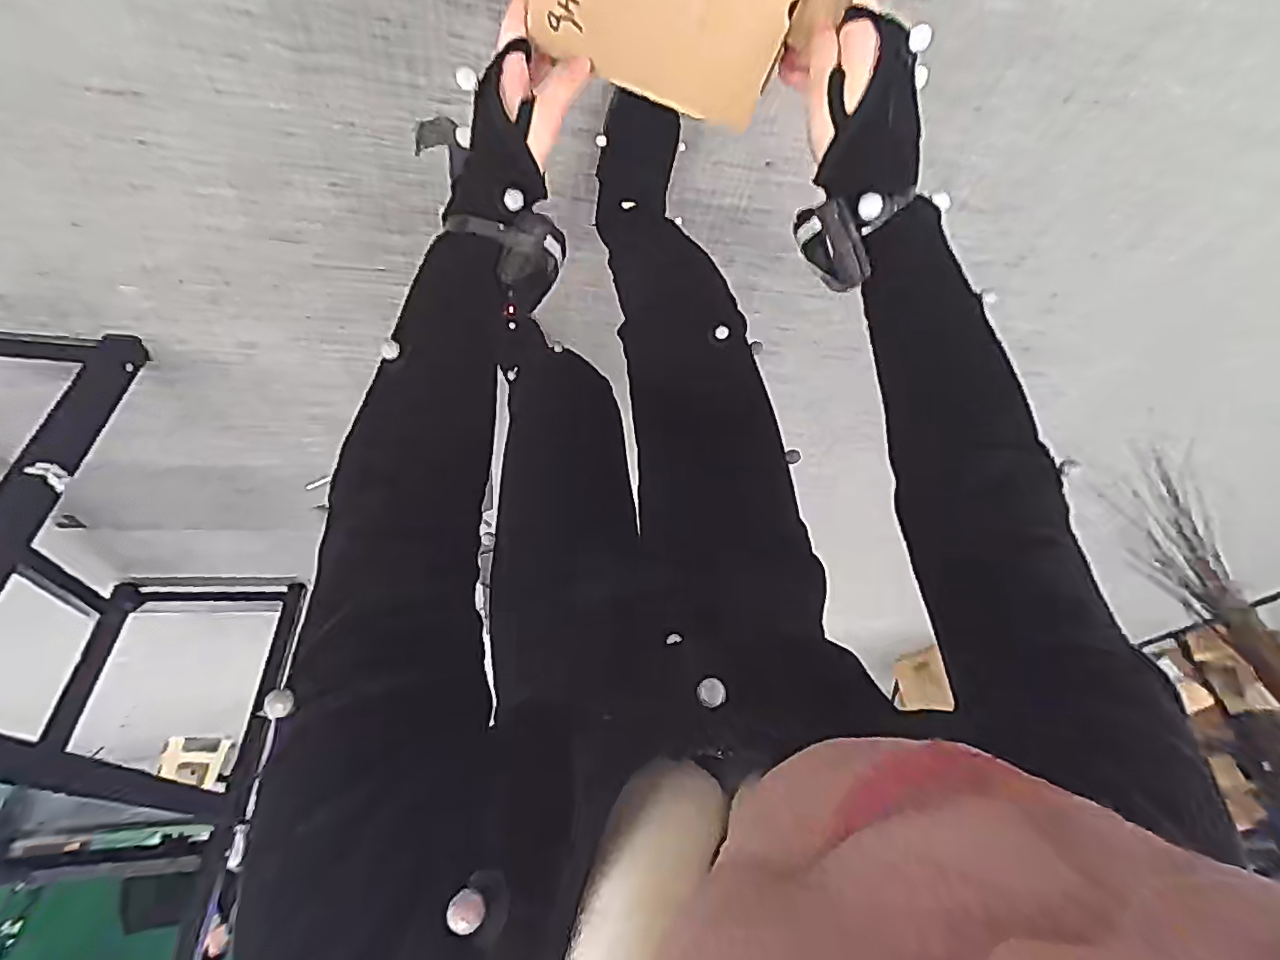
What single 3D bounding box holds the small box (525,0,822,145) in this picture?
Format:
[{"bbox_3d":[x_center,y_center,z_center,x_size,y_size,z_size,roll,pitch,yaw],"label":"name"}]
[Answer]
[{"bbox_3d":[0.036,-0.379,0.365,0.179,0.176,0.168,16,149,-11],"label":"small box"}]
